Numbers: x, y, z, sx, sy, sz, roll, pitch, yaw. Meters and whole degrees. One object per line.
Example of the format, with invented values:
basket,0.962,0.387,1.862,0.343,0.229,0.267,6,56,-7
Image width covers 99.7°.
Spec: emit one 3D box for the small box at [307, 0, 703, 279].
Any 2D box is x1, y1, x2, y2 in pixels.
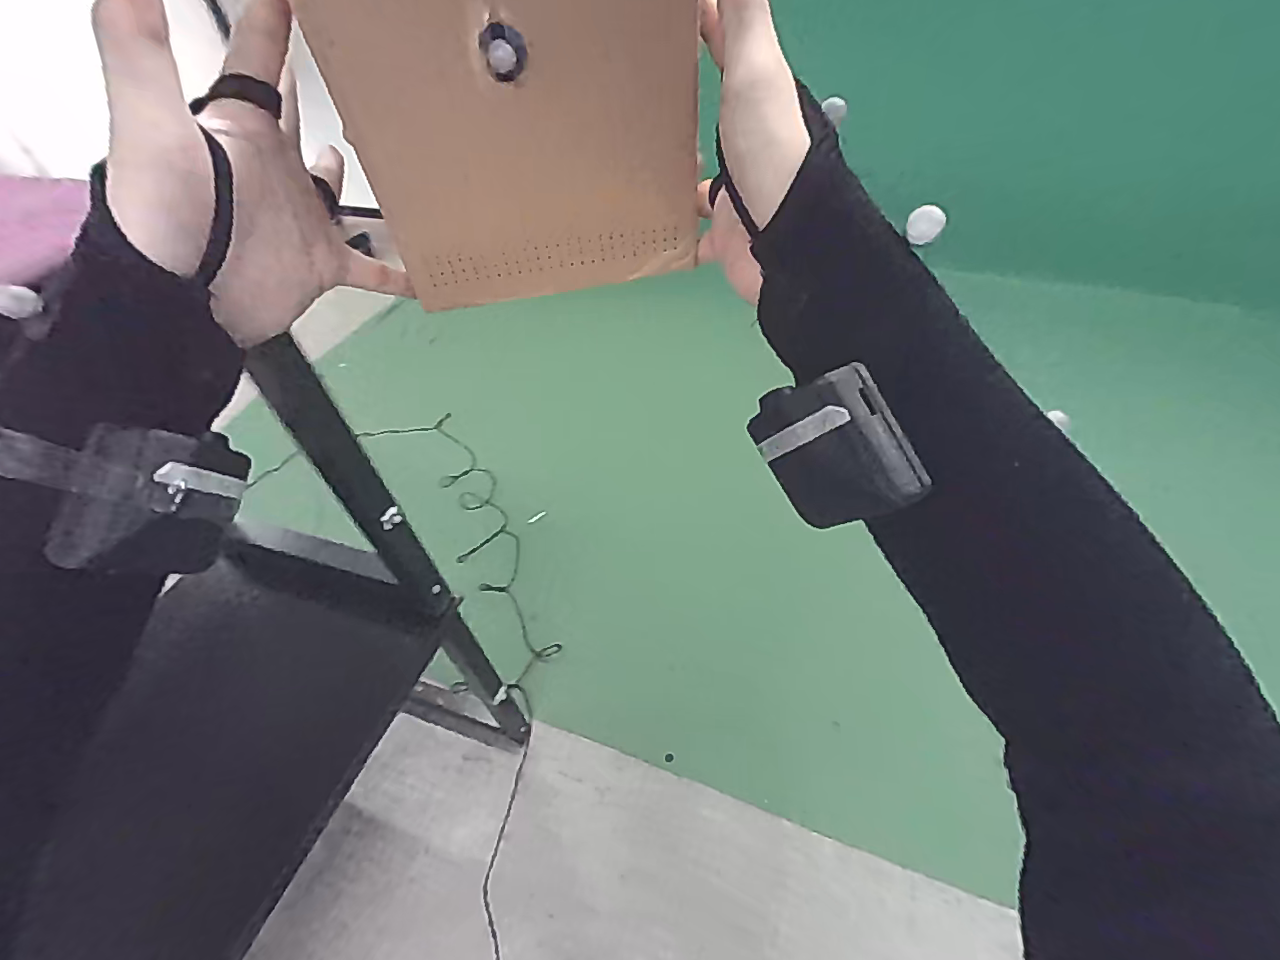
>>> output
small box,-0.061,-0.233,0.307,0.179,0.176,0.168,-7,52,-2
